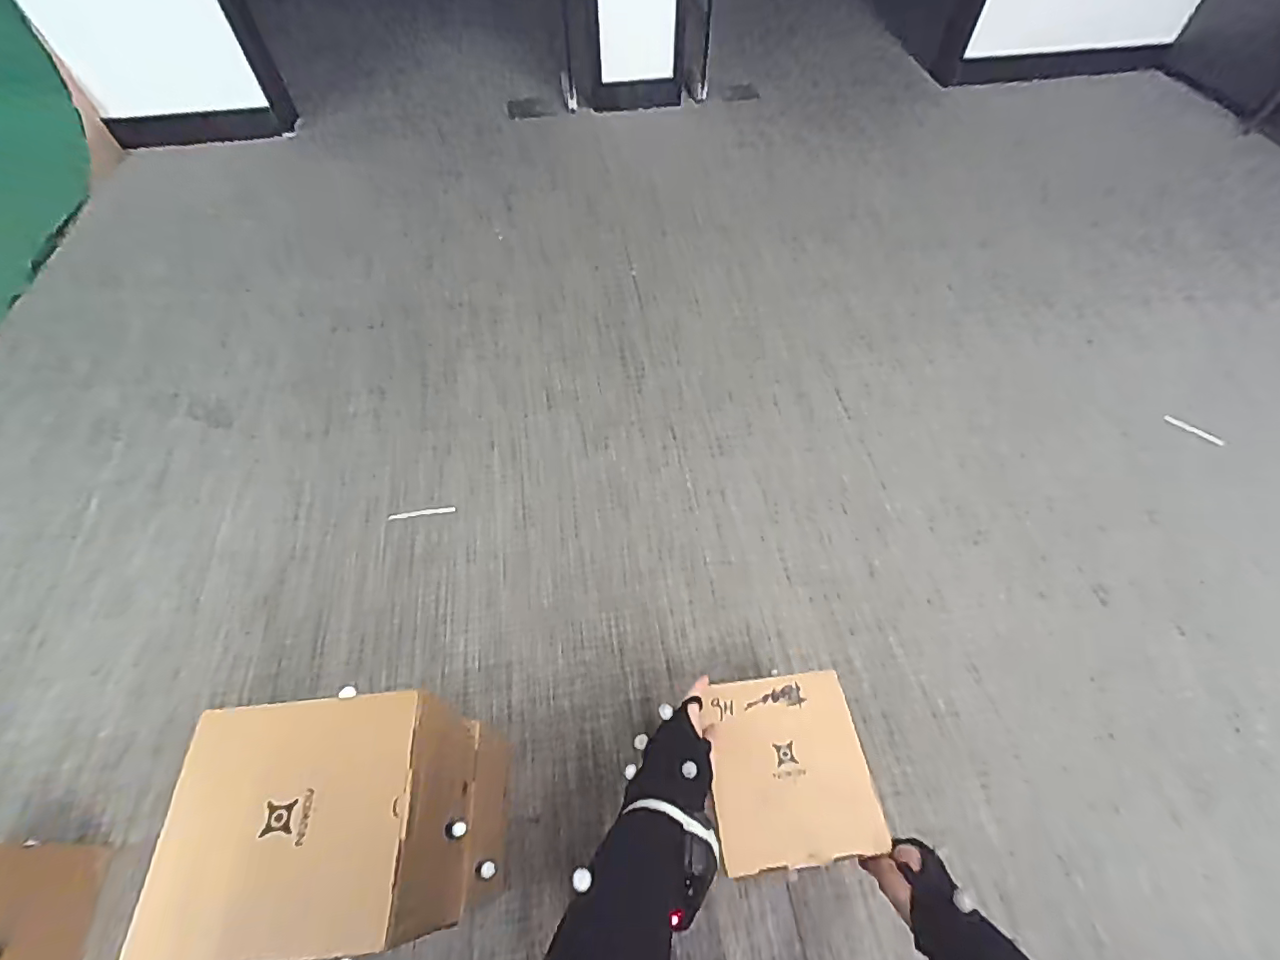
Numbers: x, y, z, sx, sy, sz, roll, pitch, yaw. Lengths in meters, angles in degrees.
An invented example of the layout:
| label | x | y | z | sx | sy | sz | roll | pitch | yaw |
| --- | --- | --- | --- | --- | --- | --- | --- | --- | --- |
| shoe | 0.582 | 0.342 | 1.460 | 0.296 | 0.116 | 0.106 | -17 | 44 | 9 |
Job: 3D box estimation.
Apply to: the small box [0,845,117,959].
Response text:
| label | x | y | z | sx | sy | sz | roll | pitch | yaw |
| --- | --- | --- | --- | --- | --- | --- | --- | --- | --- |
| small box | -0.697 | 0.486 | 0.545 | 0.168 | 0.176 | 0.179 | -9 | 56 | -6 |

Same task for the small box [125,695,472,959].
| label | x | y | z | sx | sy | sz | roll | pitch | yaw |
| --- | --- | --- | --- | --- | --- | --- | --- | --- | --- |
| small box | -0.262 | 0.298 | 0.470 | 0.179 | 0.176 | 0.168 | -5 | 56 | -3 |
